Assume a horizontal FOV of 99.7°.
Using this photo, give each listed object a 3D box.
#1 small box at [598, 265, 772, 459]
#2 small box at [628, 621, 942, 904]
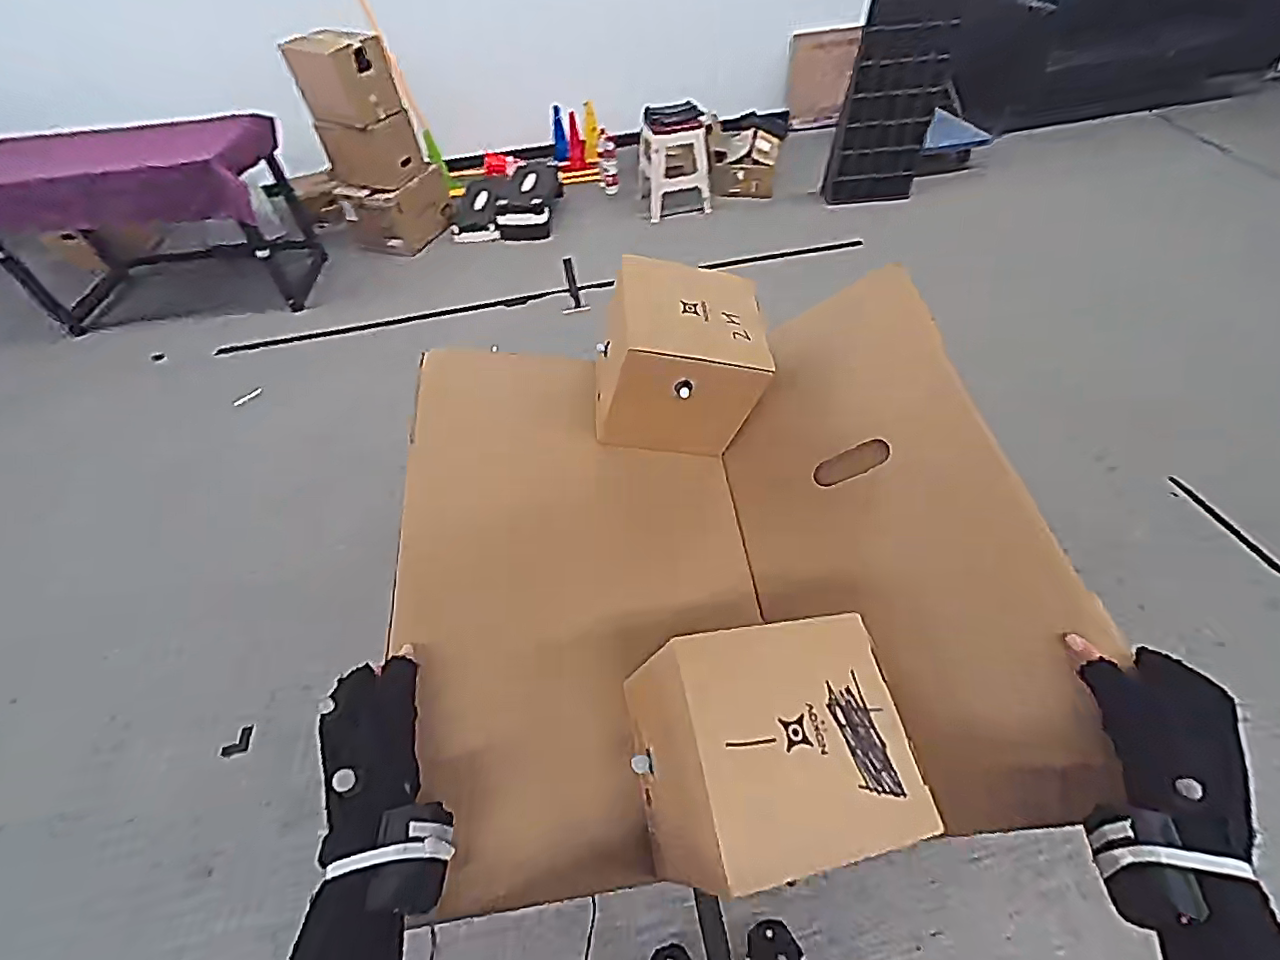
[{"bbox_3d":[0.043,-0.143,0.698,0.179,0.176,0.168,6,56,-14],"label":"small box"},{"bbox_3d":[0.104,0.234,0.468,0.179,0.176,0.168,-3,59,-18],"label":"small box"}]
